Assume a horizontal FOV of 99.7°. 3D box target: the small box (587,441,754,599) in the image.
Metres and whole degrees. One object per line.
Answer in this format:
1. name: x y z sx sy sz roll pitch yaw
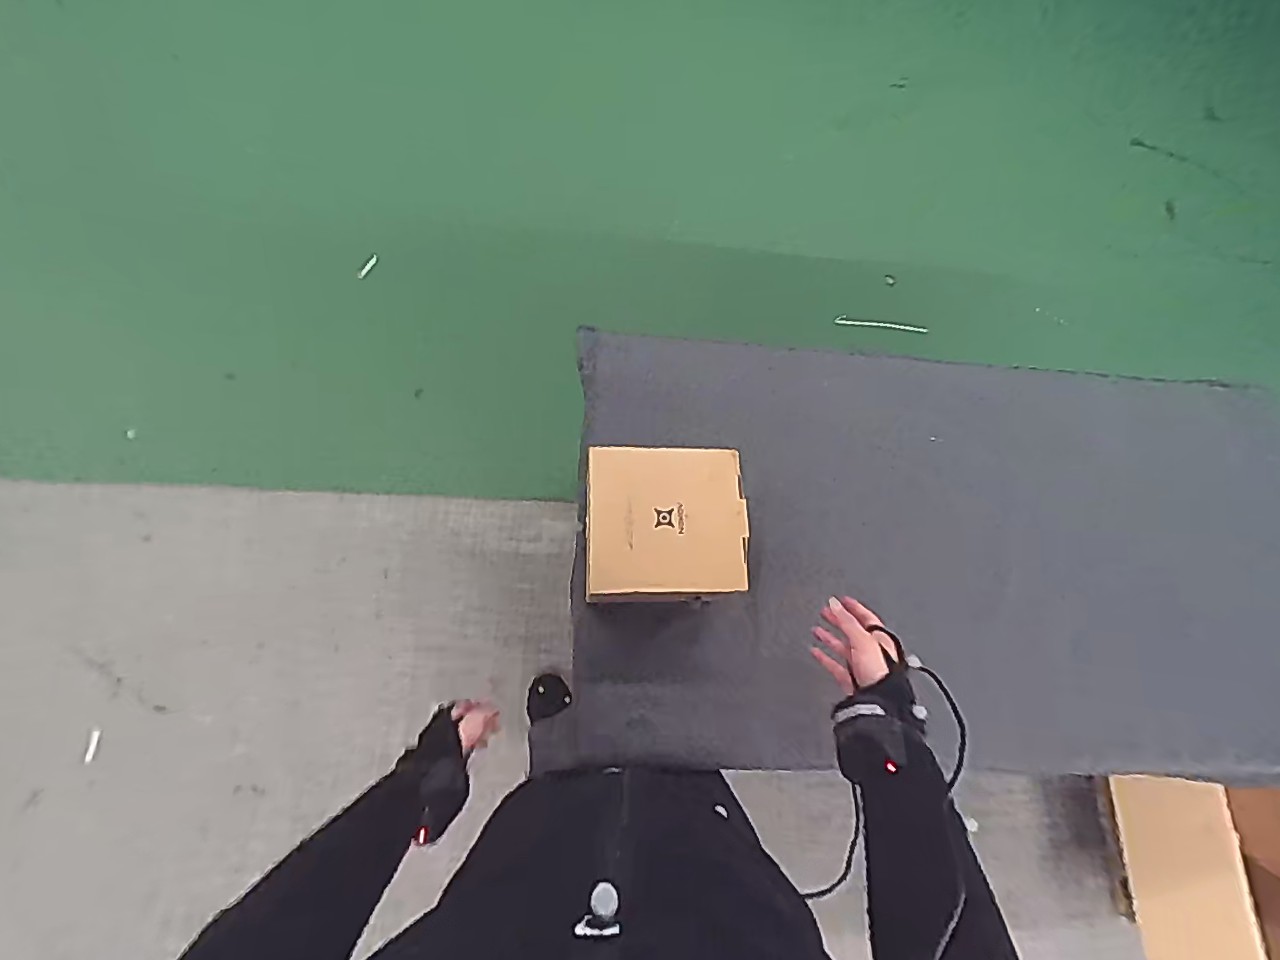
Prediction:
1. small box: 0.025 0.057 0.662 0.179 0.176 0.168 0 74 -6
